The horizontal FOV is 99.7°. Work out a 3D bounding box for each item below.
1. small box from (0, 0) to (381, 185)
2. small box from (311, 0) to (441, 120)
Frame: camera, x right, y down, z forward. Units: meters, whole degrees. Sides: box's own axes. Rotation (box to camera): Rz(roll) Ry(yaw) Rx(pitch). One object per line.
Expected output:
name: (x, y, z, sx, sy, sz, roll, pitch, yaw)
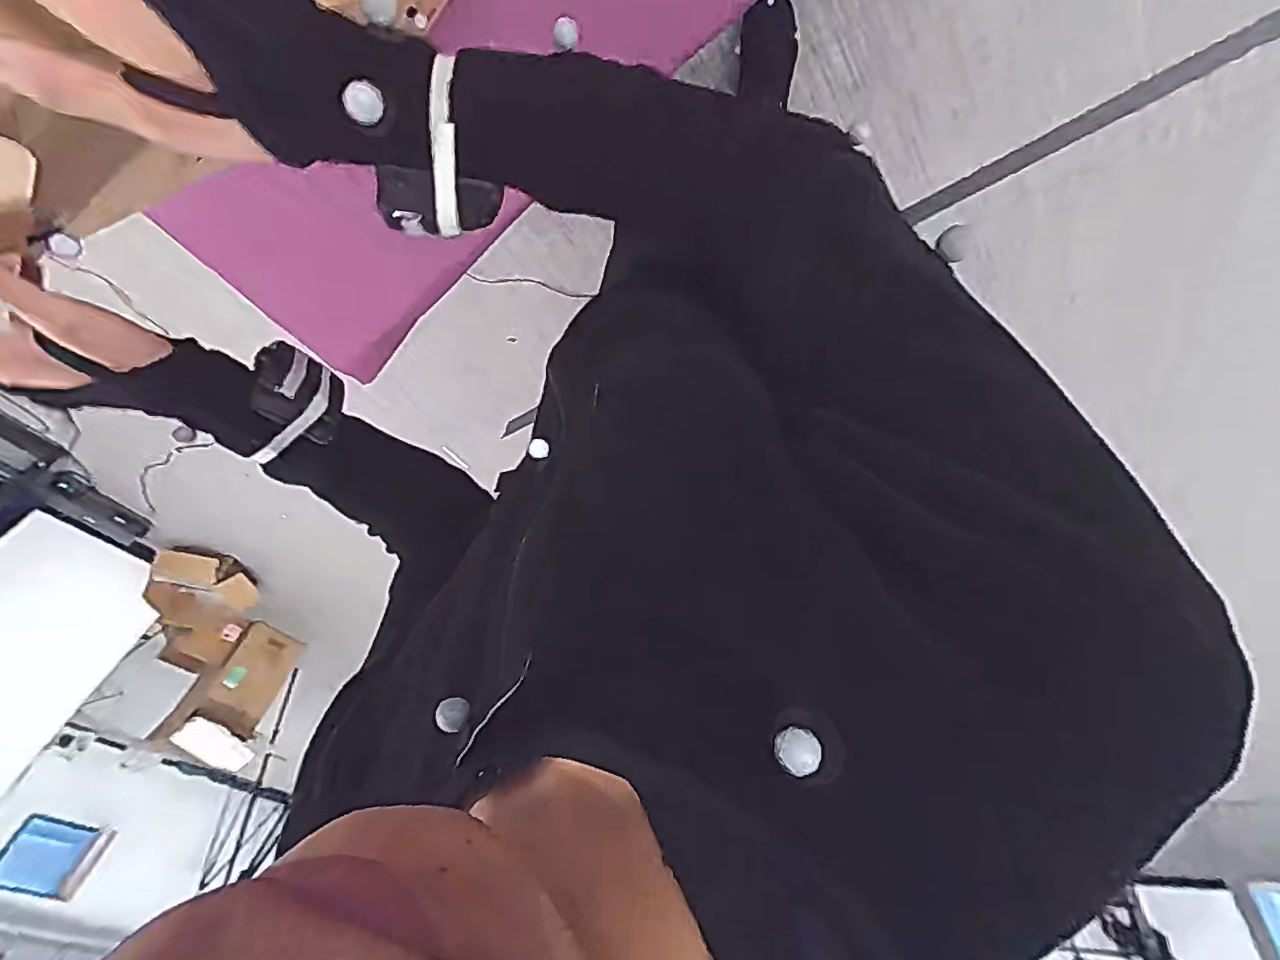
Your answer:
small box: (-0.330, -0.359, 0.381, 0.168, 0.176, 0.179, -23, 127, 33)
small box: (-0.294, -0.481, 0.486, 0.168, 0.176, 0.179, -26, 125, 34)
